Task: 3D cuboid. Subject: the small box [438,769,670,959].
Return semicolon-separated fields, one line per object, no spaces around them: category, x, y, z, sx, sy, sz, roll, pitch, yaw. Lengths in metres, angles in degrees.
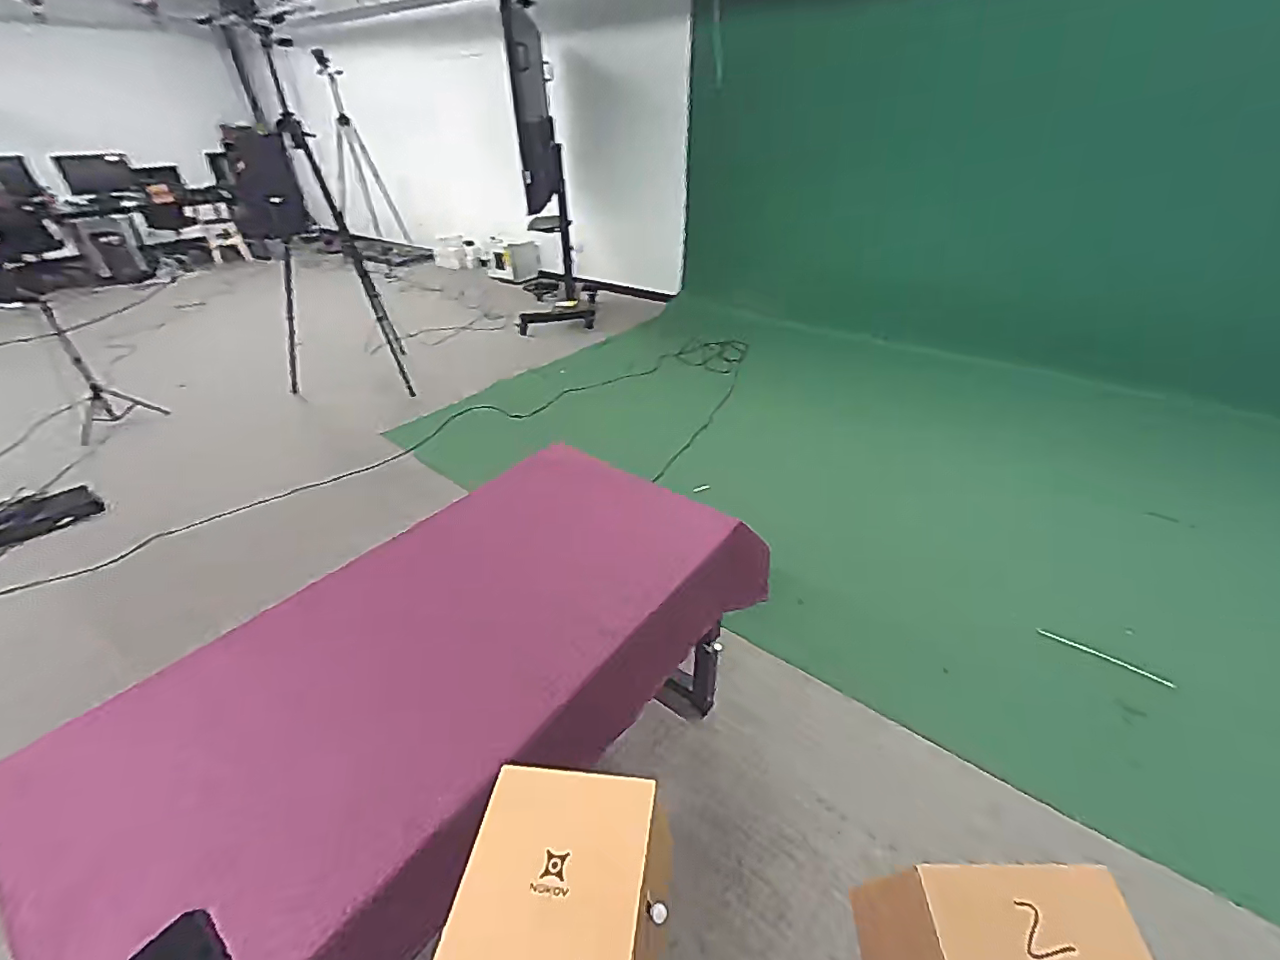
small box;-0.066;0.420;0.534;0.168;0.176;0.179;-1;37;12
